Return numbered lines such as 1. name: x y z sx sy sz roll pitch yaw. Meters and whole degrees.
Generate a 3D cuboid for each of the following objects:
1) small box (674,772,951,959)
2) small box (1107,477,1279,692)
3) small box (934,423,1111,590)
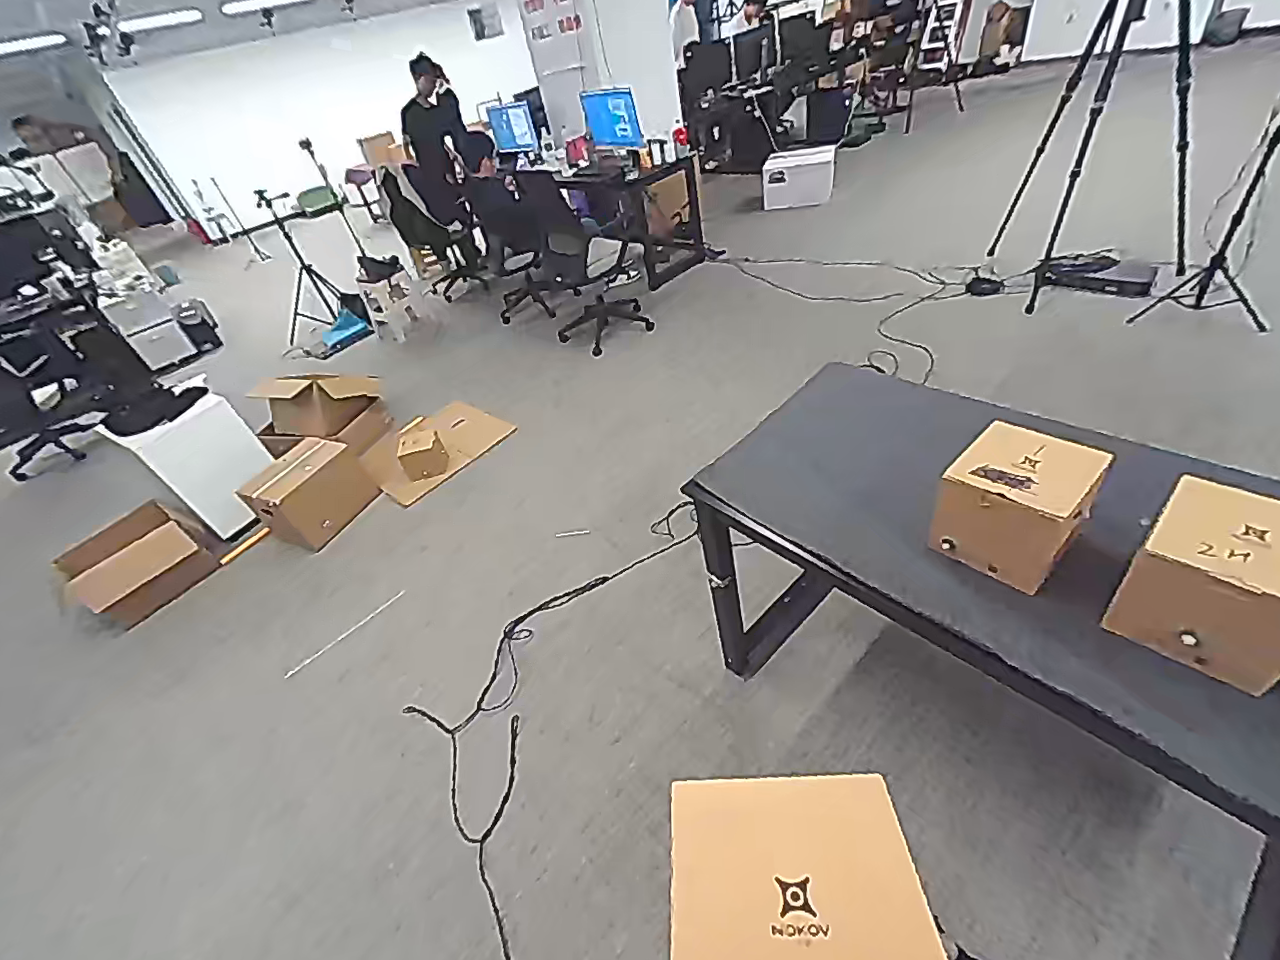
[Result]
1. small box: 0.112 0.342 0.386 0.168 0.176 0.179 -5 27 6
2. small box: 0.757 0.131 0.705 0.179 0.176 0.168 -37 43 -25
3. small box: 0.597 0.041 0.864 0.179 0.176 0.168 -35 44 -25
